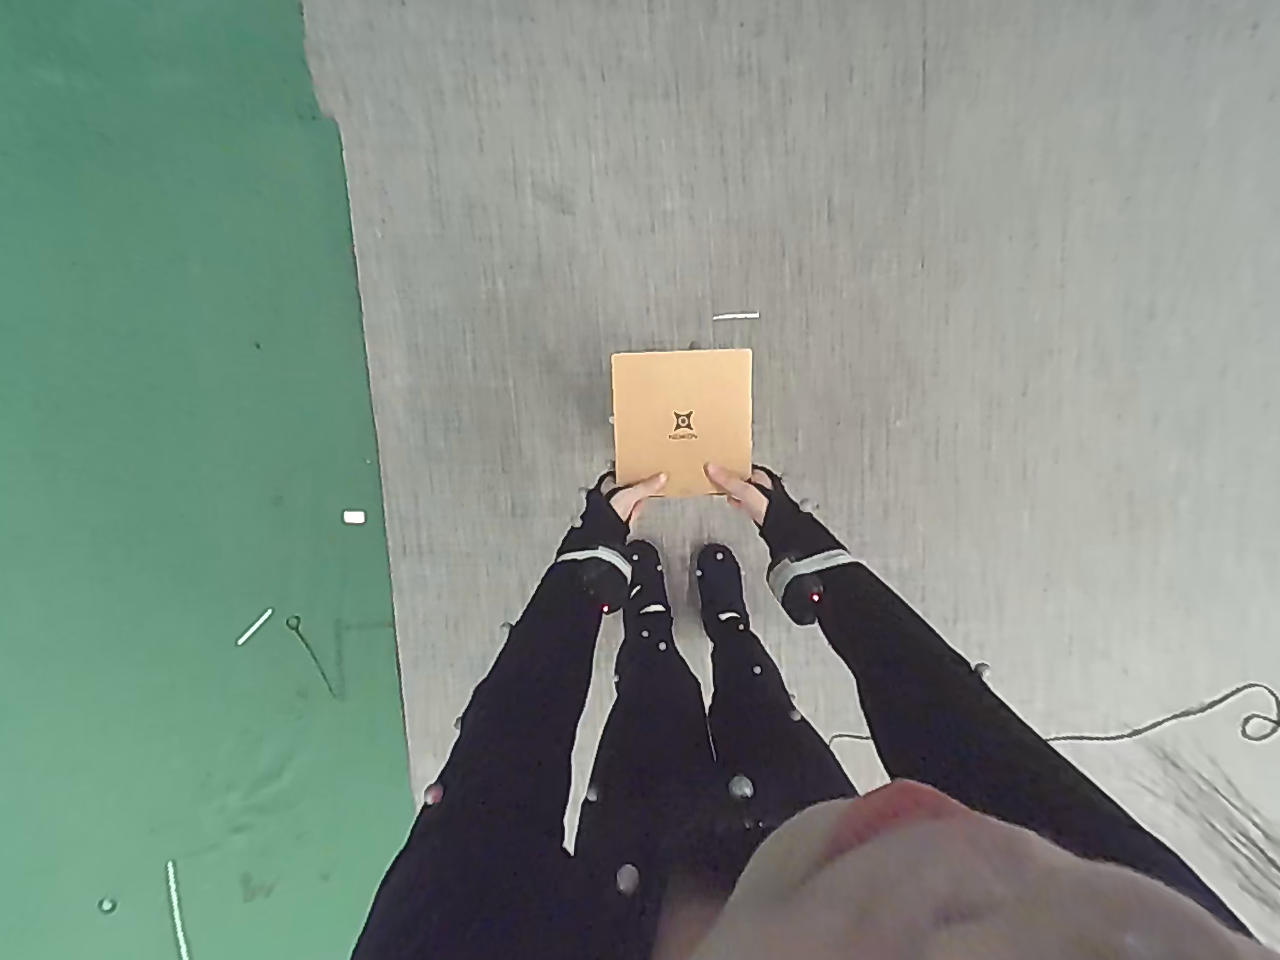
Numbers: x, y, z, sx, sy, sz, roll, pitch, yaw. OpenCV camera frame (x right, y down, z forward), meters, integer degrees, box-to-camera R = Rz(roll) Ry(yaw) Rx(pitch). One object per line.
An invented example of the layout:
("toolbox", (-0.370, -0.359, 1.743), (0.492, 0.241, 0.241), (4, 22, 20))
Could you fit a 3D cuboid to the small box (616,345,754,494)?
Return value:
("small box", (0.053, -0.084, 0.723), (0.168, 0.176, 0.179), (-2, 101, 1))
